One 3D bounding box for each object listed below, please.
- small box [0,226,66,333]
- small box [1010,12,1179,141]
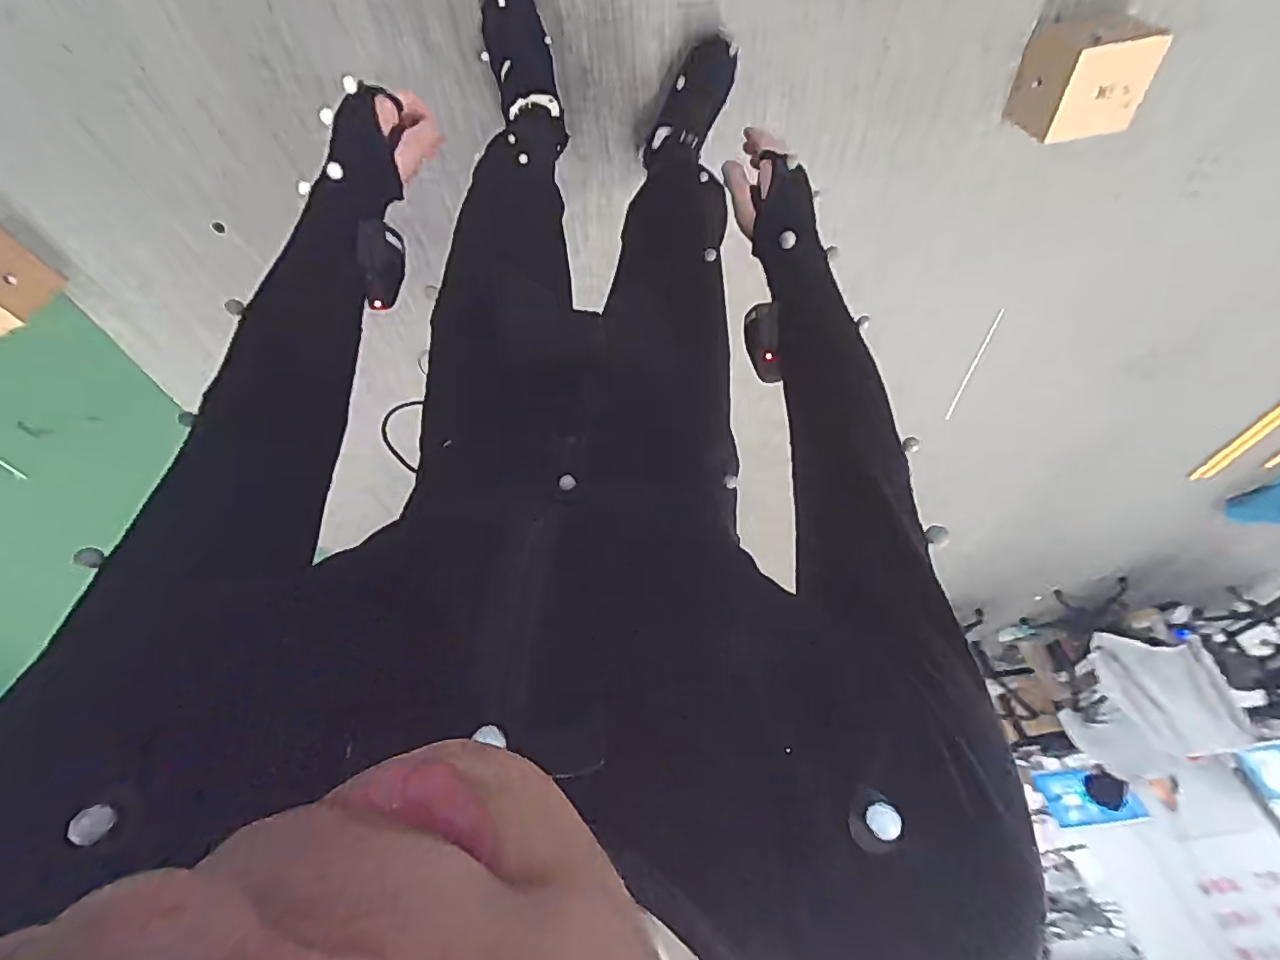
[{"bbox_3d":[-1.457,-0.443,1.193,0.168,0.176,0.179,-14,141,7],"label":"small box"},{"bbox_3d":[0.915,-0.832,1.115,0.179,0.176,0.168,-9,142,2],"label":"small box"}]
